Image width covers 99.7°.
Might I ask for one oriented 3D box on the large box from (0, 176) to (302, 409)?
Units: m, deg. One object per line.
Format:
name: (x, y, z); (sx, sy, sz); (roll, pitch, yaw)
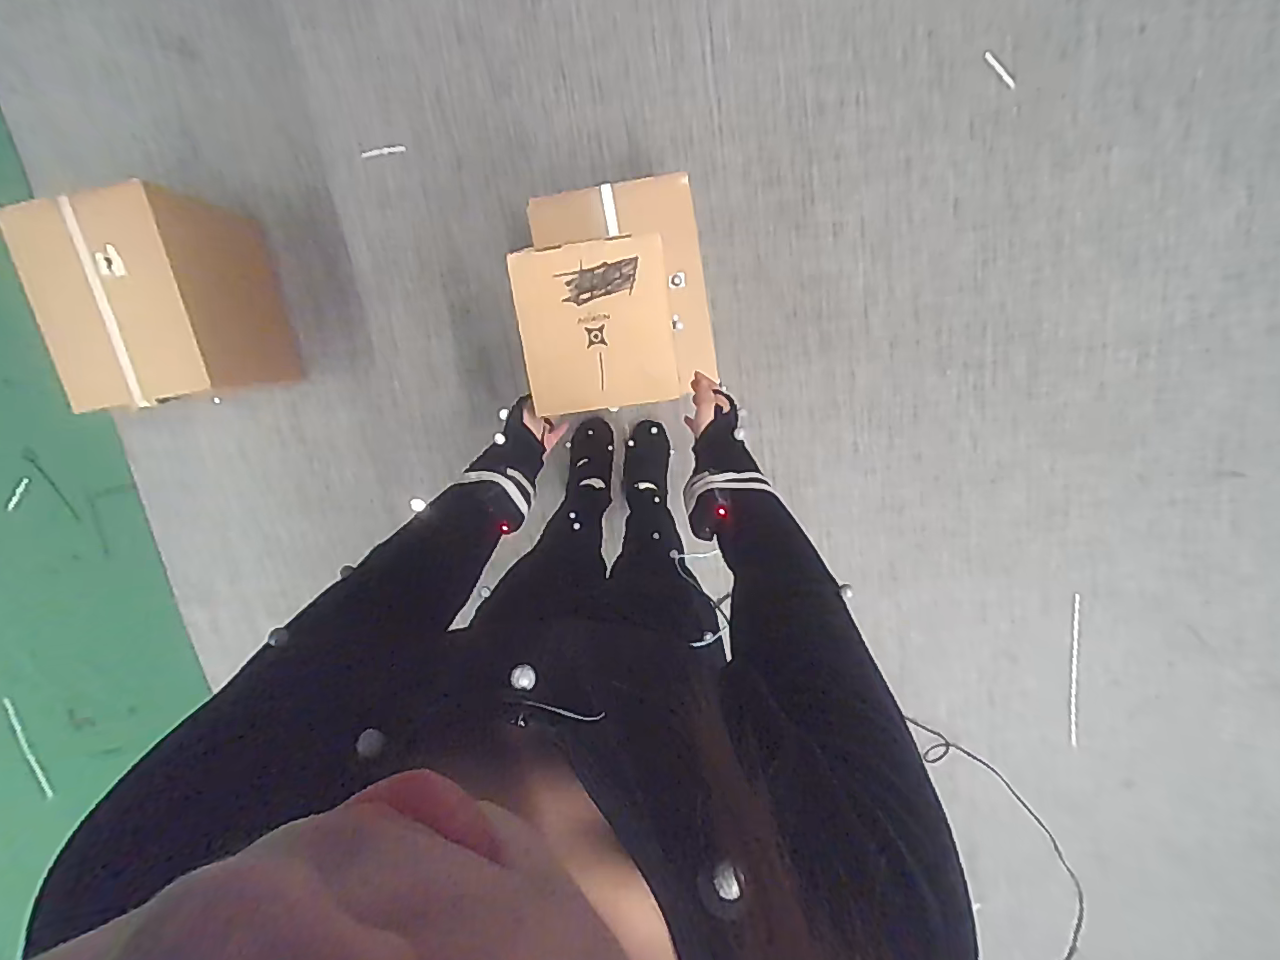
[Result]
large box: (-1.051, -0.393, 1.215); (0.320, 0.320, 0.408); (-9, 102, 4)

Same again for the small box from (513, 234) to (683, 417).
small box: (-0.041, -0.181, 0.657); (0.168, 0.176, 0.179); (-7, 105, 4)
